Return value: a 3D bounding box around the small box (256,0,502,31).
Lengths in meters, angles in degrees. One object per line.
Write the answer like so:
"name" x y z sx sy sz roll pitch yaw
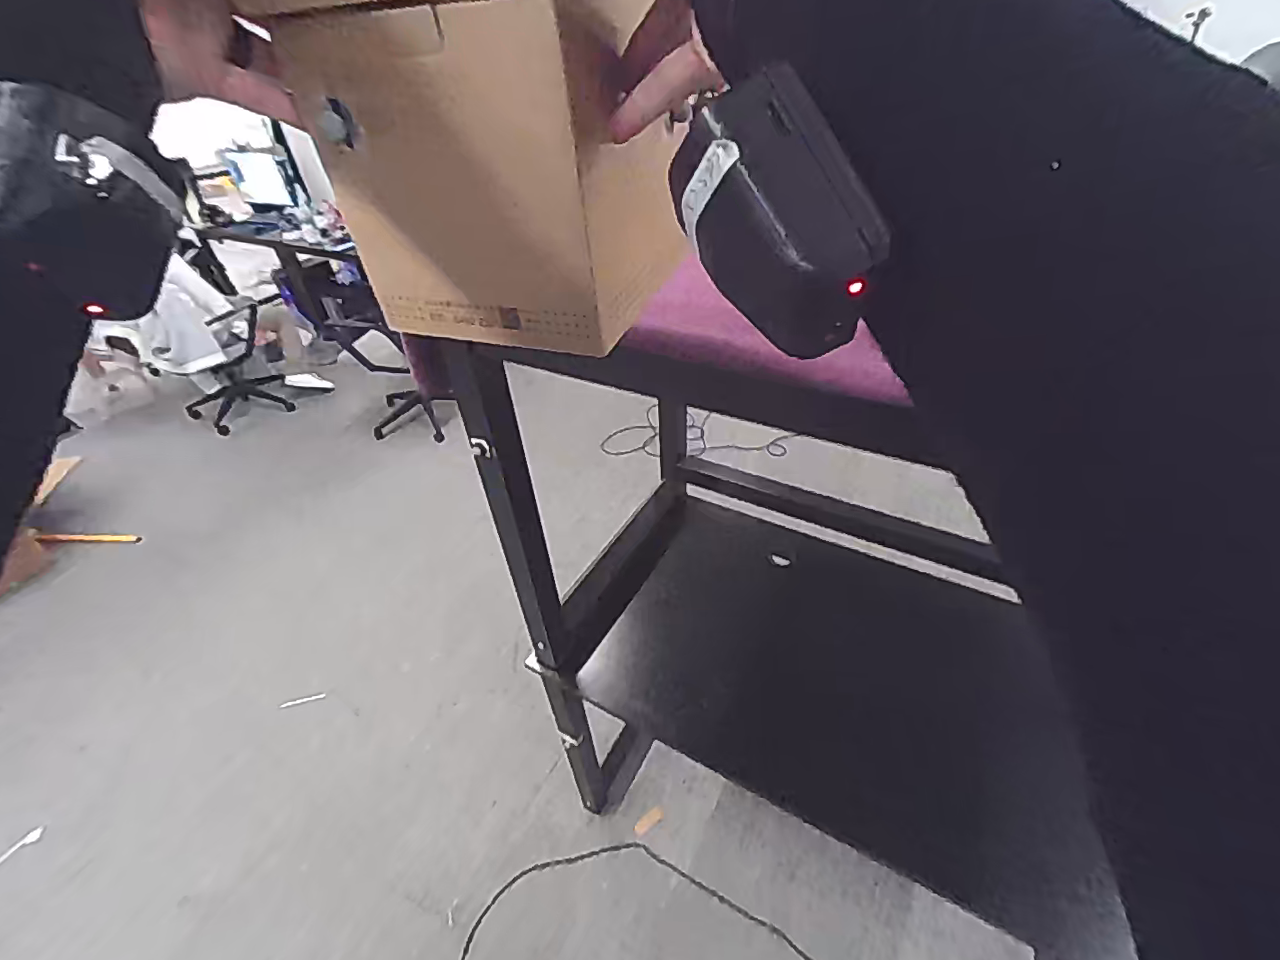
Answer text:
"small box" -0.093 -0.327 0.246 0.179 0.176 0.168 8 45 16
